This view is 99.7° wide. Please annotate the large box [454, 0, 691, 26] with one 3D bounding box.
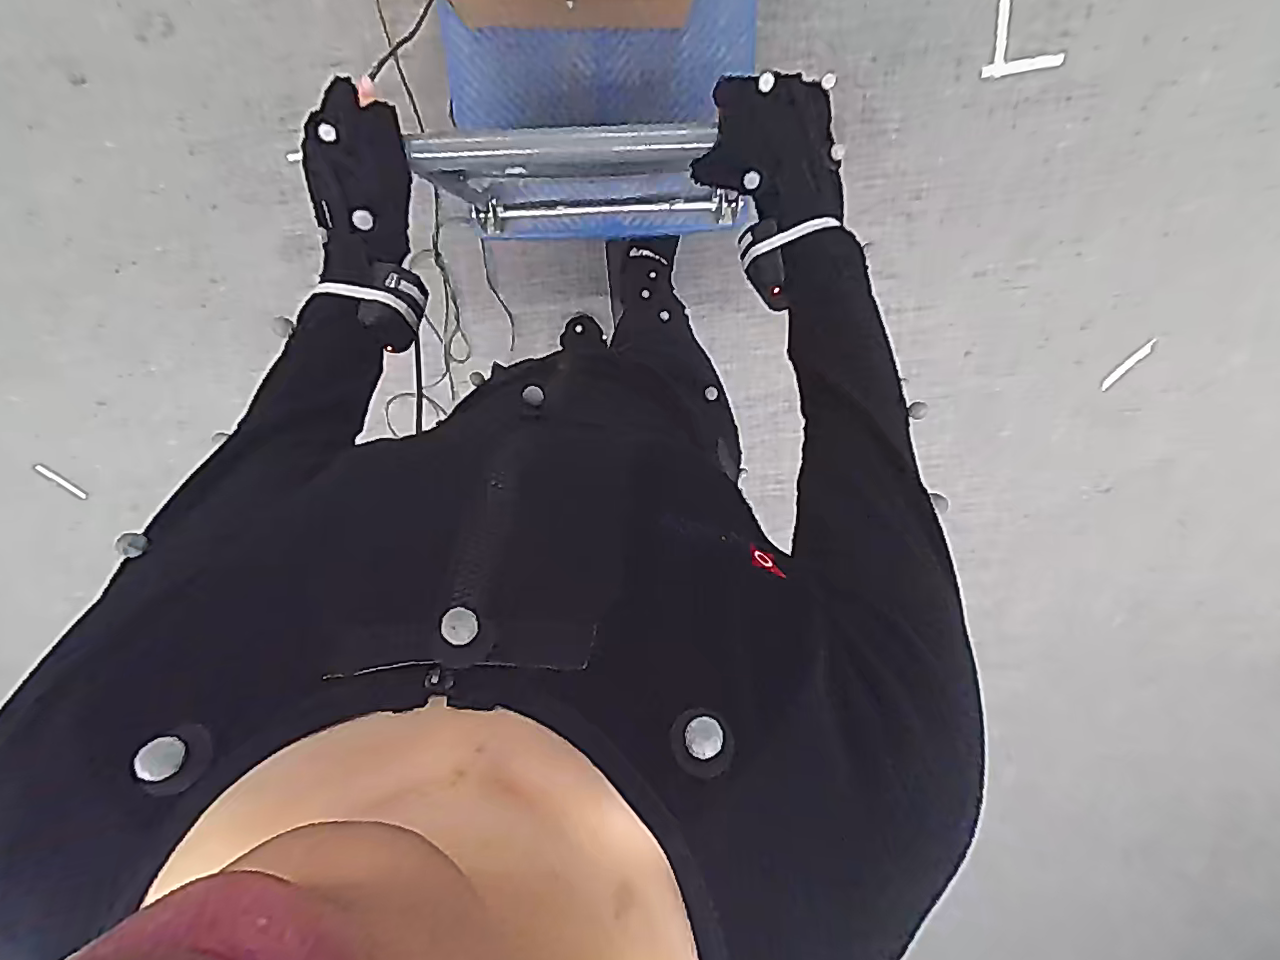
[{"bbox_3d":[-0.114,-0.920,0.803,0.408,0.320,0.320,-1,113,0],"label":"large box"}]
